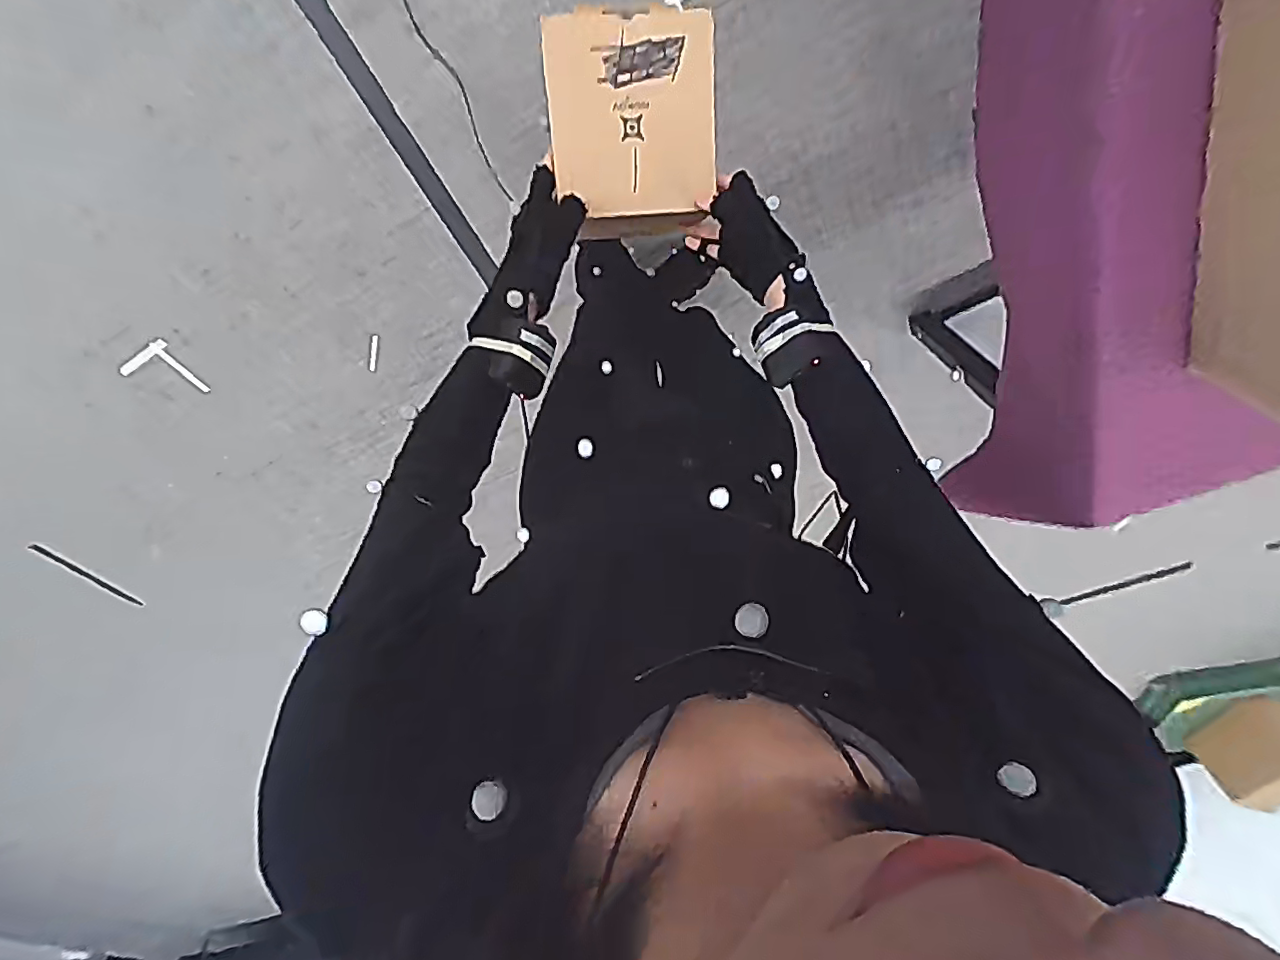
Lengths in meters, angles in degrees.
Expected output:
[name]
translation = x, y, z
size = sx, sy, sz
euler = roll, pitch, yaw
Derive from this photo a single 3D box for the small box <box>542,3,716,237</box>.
[small box]
translation = -0.014, -0.383, 0.606
size = 0.168, 0.176, 0.179
euler = -5, 108, -3
